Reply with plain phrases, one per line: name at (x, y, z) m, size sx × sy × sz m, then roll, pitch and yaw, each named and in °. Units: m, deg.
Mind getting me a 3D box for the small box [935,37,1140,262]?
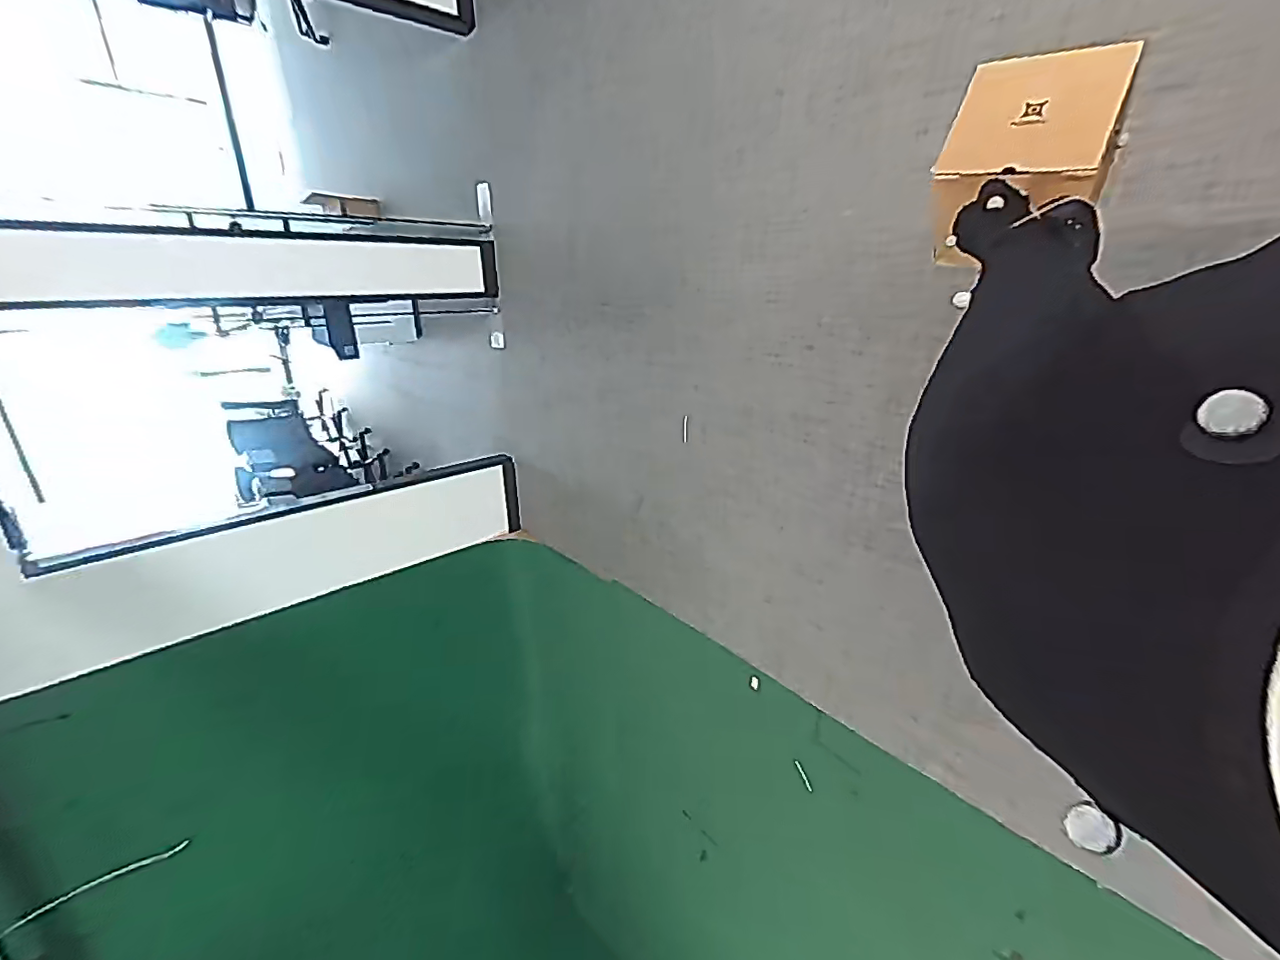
small box at (0.503, -0.416, 0.707) m, size 0.168 × 0.176 × 0.179 m, roll 19°, pitch 83°, yaw 34°
